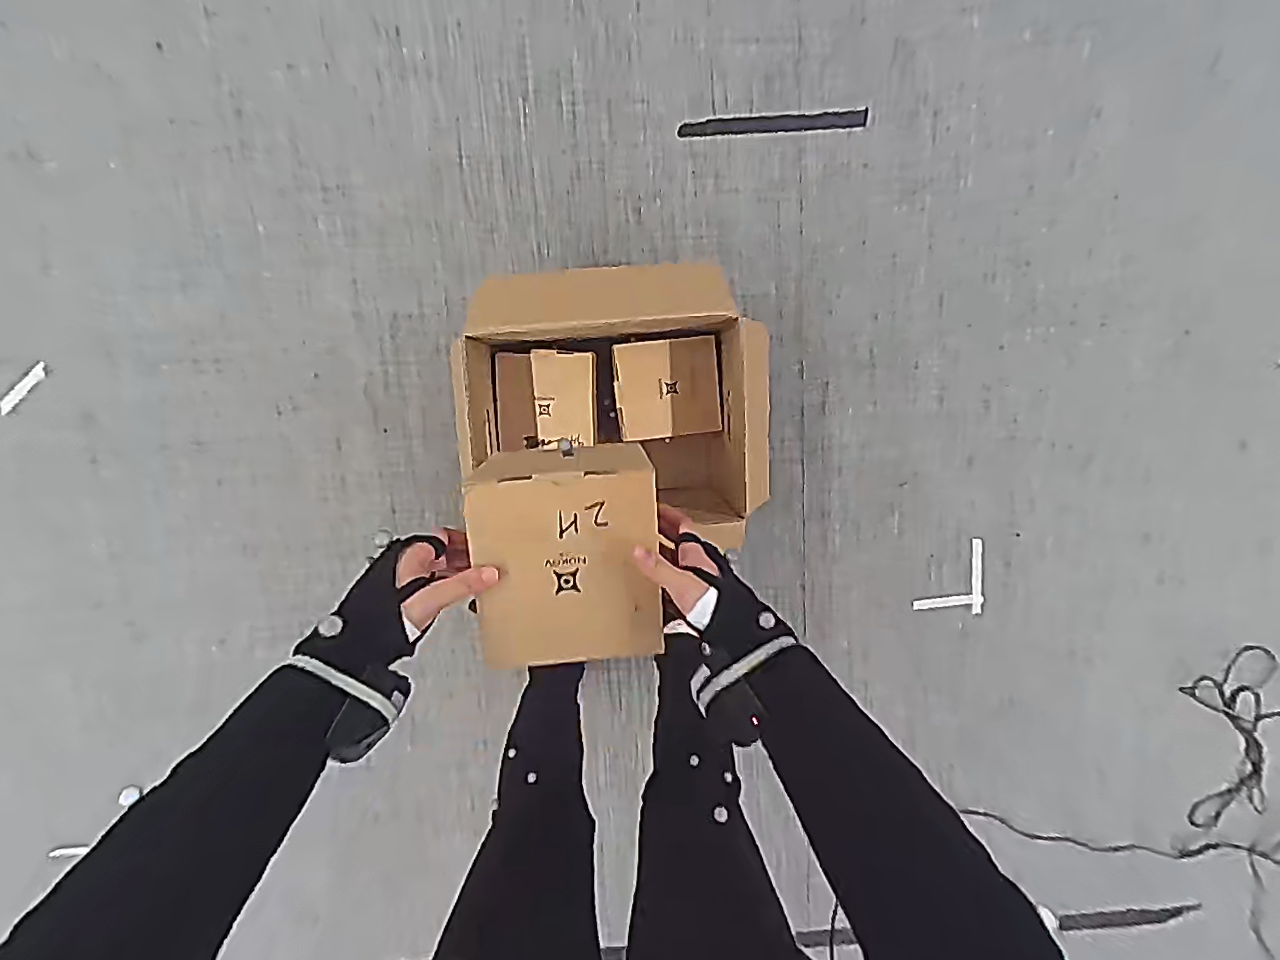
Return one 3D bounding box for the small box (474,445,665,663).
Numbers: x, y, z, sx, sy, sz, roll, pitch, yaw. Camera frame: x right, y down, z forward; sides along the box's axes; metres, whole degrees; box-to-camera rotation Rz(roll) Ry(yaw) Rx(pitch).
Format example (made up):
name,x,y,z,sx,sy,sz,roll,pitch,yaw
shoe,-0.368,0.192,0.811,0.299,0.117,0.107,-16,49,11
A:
name,x,y,z,sx,sy,sz,roll,pitch,yaw
small box,-0.067,0.065,0.573,0.168,0.176,0.179,-5,102,-5
